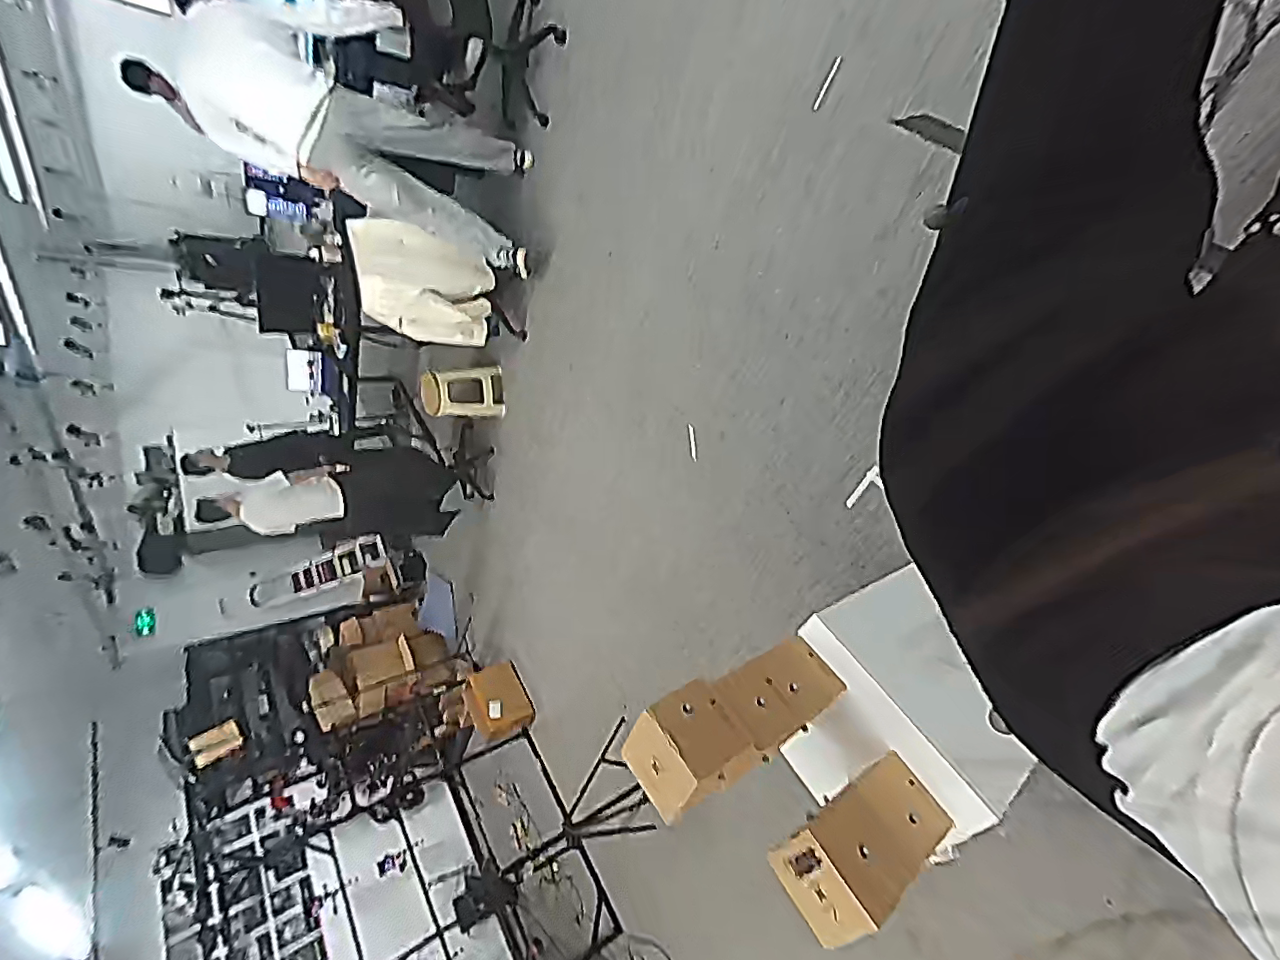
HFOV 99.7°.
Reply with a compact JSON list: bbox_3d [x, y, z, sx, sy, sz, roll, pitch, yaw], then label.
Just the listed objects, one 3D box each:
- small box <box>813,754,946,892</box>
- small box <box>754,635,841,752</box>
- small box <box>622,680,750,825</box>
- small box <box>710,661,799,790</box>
[{"bbox_3d":[0.515,0.722,1.152,0.168,0.176,0.179,52,134,30],"label":"small box"},{"bbox_3d":[0.348,0.507,1.299,0.168,0.176,0.179,48,132,31],"label":"small box"},{"bbox_3d":[0.095,0.540,1.092,0.168,0.176,0.179,45,131,35],"label":"small box"},{"bbox_3d":[0.223,0.533,1.194,0.168,0.176,0.179,49,132,31],"label":"small box"}]
